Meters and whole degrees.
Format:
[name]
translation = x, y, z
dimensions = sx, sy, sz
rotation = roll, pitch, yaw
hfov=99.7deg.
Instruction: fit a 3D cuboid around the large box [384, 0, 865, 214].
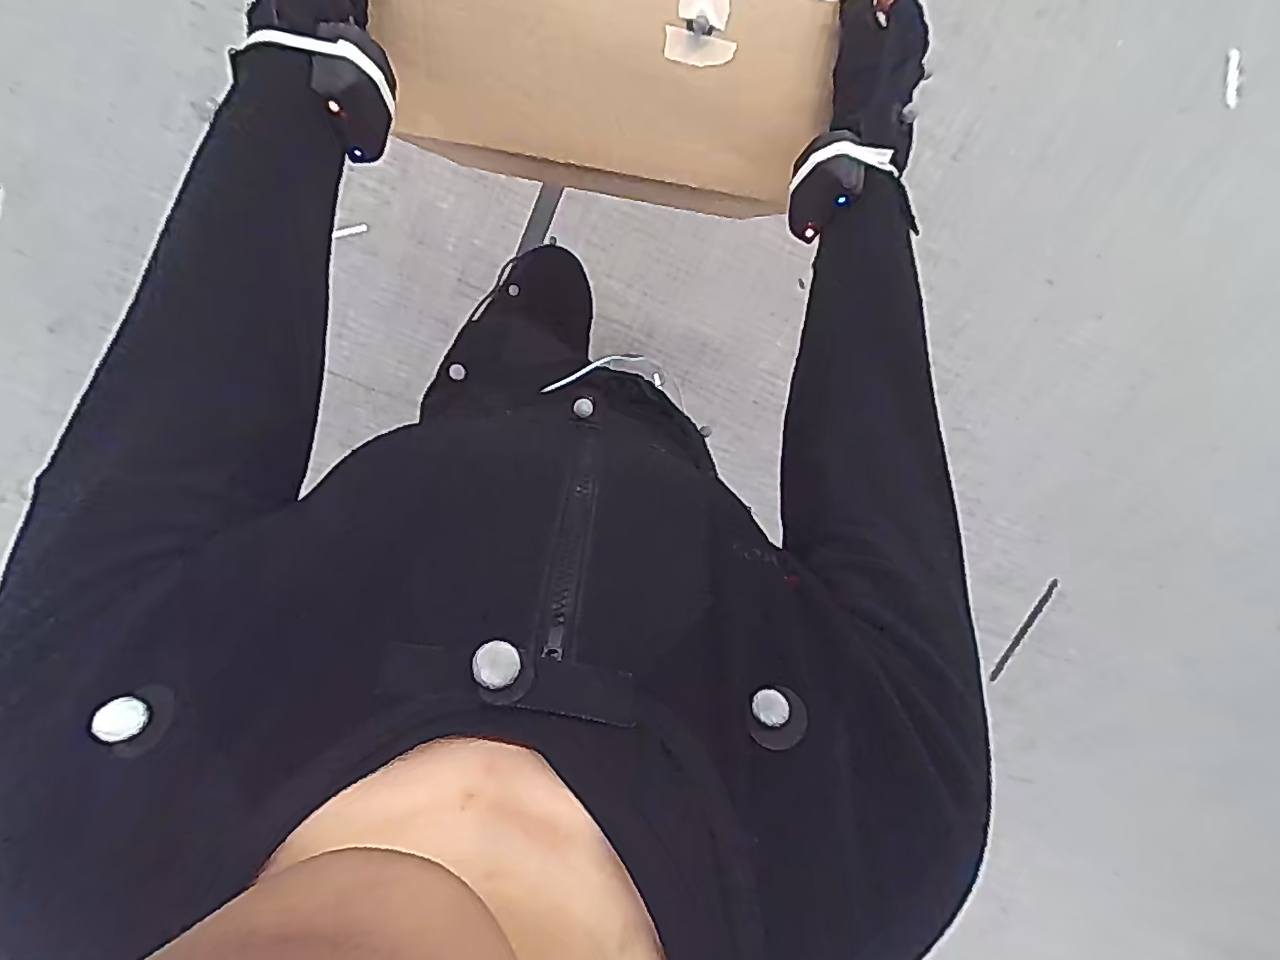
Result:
[large box]
translation = -0.015, -0.486, 0.573
dimensions = 0.408, 0.320, 0.320
rotation = 7, 114, -7
